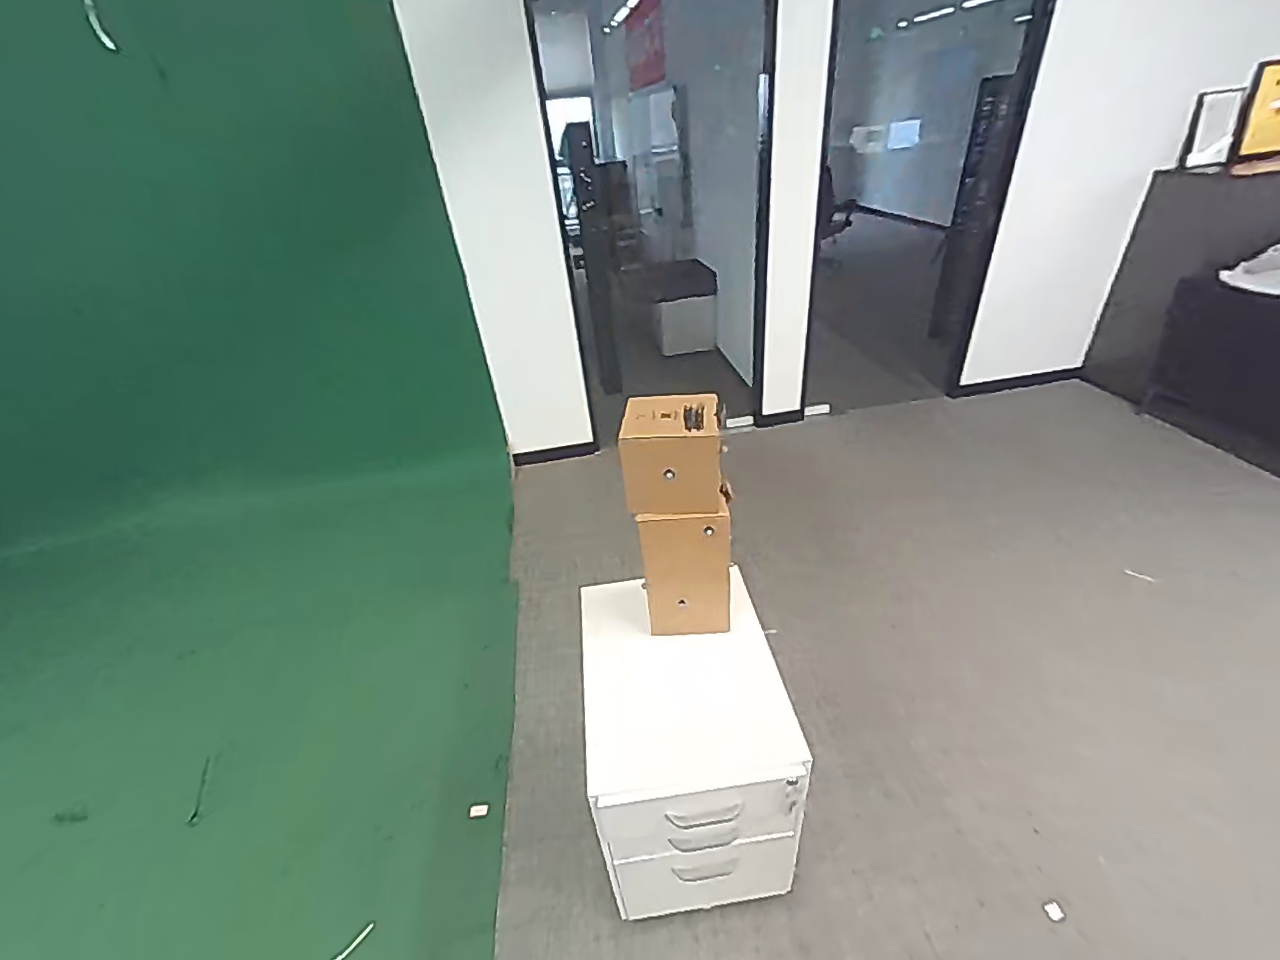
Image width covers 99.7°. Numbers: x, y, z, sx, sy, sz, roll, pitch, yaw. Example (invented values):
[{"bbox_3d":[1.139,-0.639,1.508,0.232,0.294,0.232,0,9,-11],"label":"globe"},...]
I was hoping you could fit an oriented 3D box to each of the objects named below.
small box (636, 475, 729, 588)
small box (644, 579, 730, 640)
[{"bbox_3d":[0.087,0.108,1.117,0.179,0.176,0.168,-4,33,3],"label":"small box"},{"bbox_3d":[0.105,0.242,1.209,0.179,0.176,0.168,-4,34,4],"label":"small box"}]
